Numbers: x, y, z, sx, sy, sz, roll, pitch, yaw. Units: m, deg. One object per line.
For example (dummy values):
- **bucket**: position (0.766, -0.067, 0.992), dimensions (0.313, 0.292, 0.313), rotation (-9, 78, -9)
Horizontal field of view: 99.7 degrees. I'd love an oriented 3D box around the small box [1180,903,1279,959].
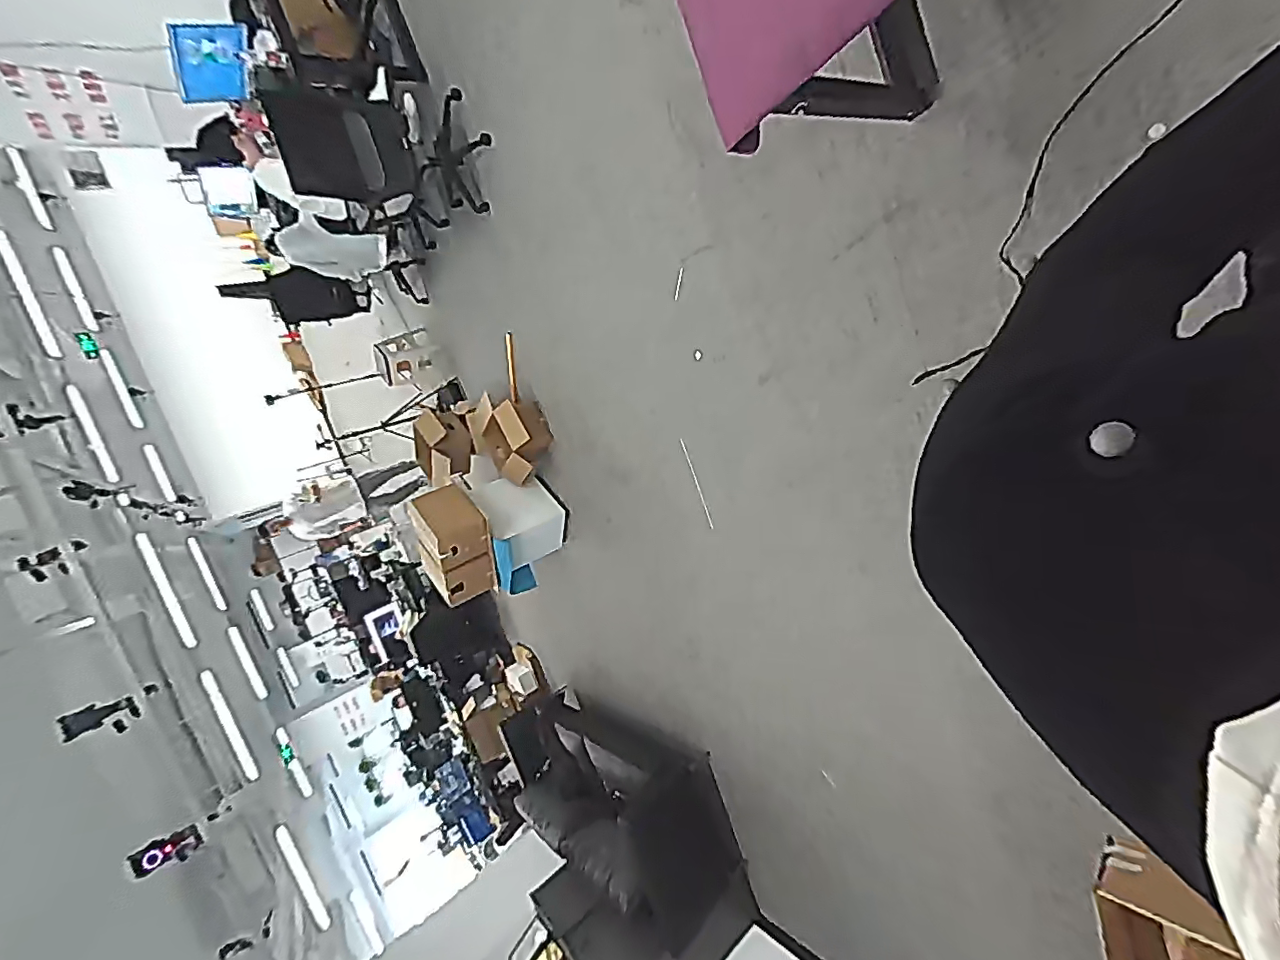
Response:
- **small box**: position (1.174, 0.986, 1.044), dimensions (0.168, 0.176, 0.179), rotation (-3, 108, 55)
